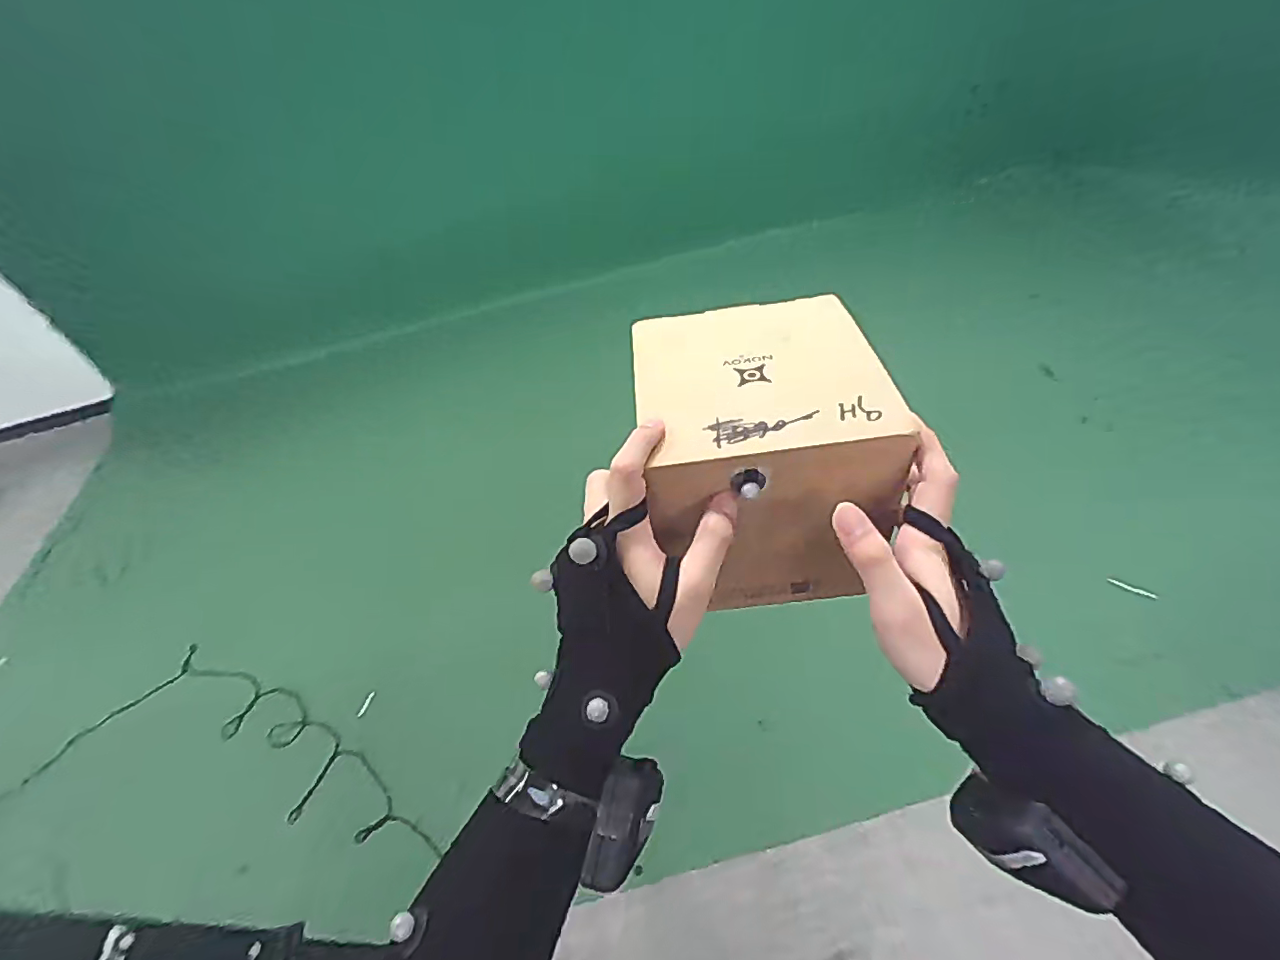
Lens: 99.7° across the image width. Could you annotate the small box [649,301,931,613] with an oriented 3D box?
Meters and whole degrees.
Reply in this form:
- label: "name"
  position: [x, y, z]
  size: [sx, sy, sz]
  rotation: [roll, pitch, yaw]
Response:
- label: "small box"
  position: [0.098, -0.018, 0.432]
  size: [0.168, 0.176, 0.179]
  rotation: [-7, 44, 5]
